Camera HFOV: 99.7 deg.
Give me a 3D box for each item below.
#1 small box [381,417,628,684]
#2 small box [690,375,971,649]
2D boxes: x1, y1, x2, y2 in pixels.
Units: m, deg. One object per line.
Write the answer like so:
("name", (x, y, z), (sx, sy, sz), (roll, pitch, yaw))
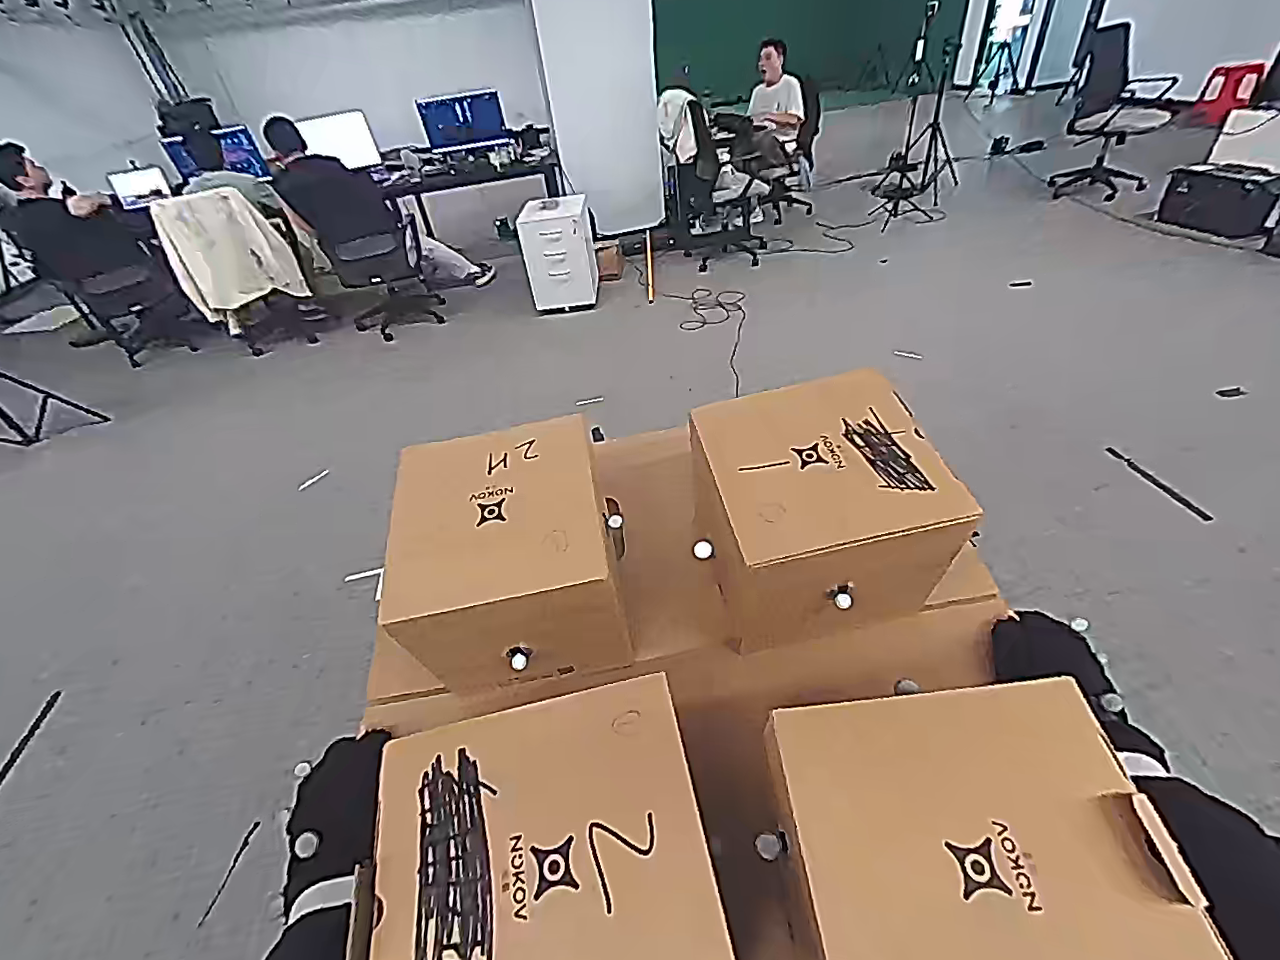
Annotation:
("small box", (-0.109, 0.073, 0.499), (0.168, 0.176, 0.179), (-11, 51, -1))
("small box", (0.149, 0.034, 0.494), (0.179, 0.176, 0.168), (-12, 51, 0))
